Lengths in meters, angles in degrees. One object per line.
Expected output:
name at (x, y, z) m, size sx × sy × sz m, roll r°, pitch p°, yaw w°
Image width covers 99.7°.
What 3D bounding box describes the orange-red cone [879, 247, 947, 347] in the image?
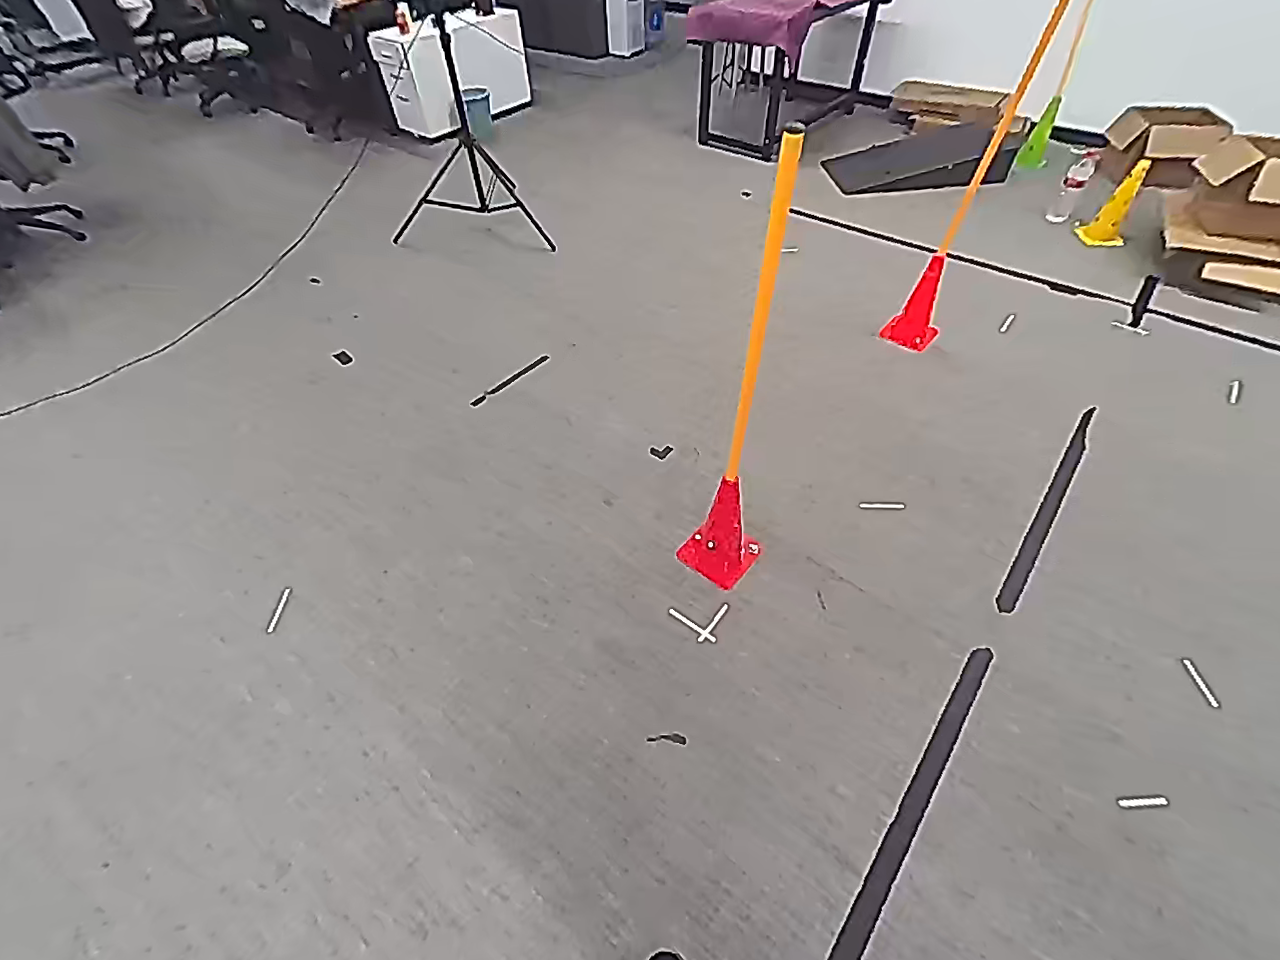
orange-red cone at (1.142, -0.755, 2.172) m, size 0.198 × 0.360 × 0.199 m, roll 35°, pitch 59°, yaw 27°
